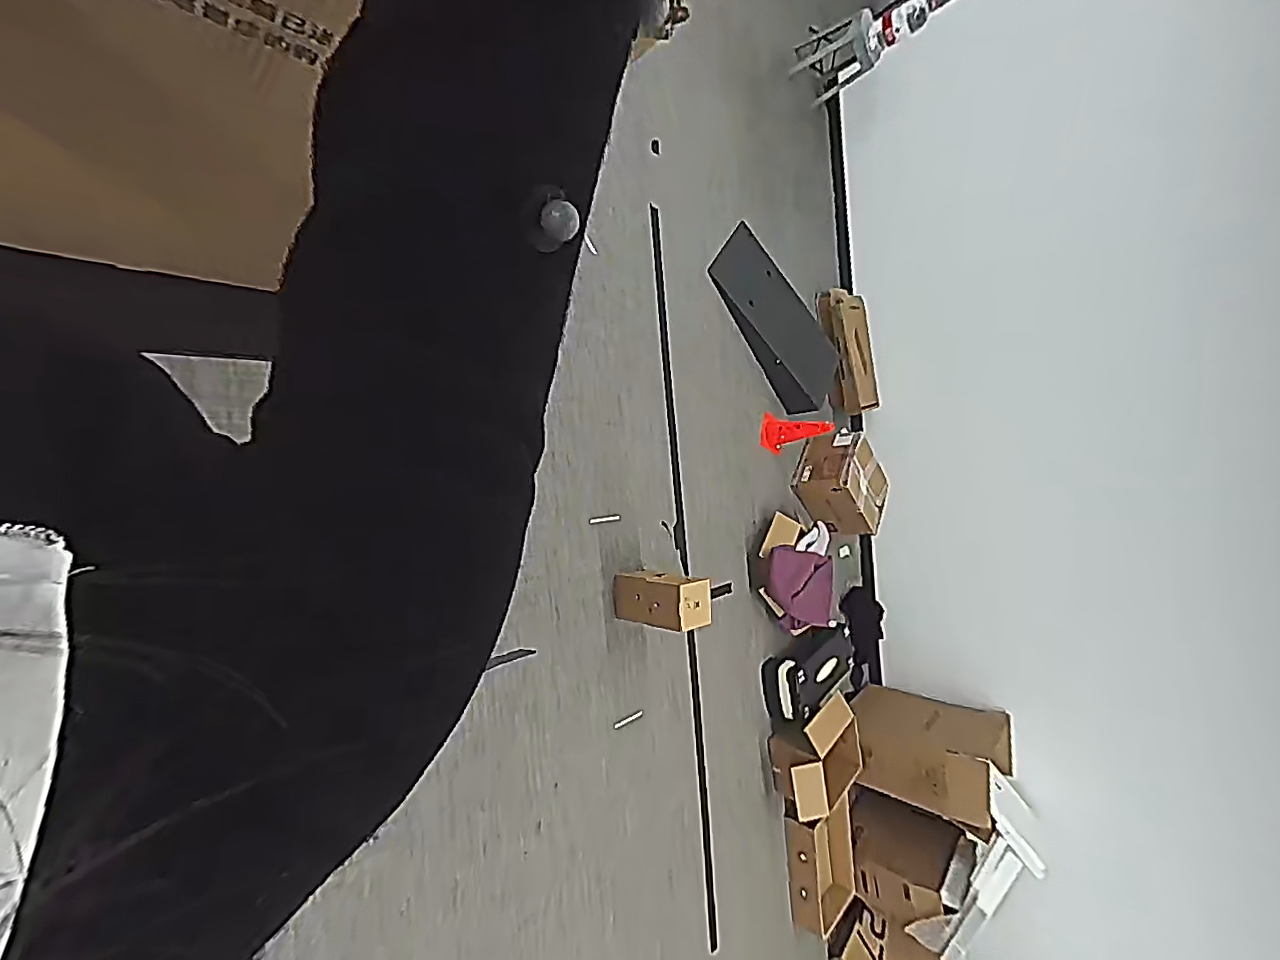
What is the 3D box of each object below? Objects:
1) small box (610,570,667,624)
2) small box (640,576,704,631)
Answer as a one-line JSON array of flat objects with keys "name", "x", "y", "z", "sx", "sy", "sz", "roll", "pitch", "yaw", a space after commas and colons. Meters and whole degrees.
[{"name": "small box", "x": -0.006, "y": 0.449, "z": 2.109, "sx": 0.168, "sy": 0.176, "sz": 0.179, "roll": 0, "pitch": 88, "yaw": -46}, {"name": "small box", "x": 0.117, "y": 0.450, "z": 1.999, "sx": 0.179, "sy": 0.176, "sz": 0.168, "roll": 0, "pitch": 88, "yaw": -46}]
